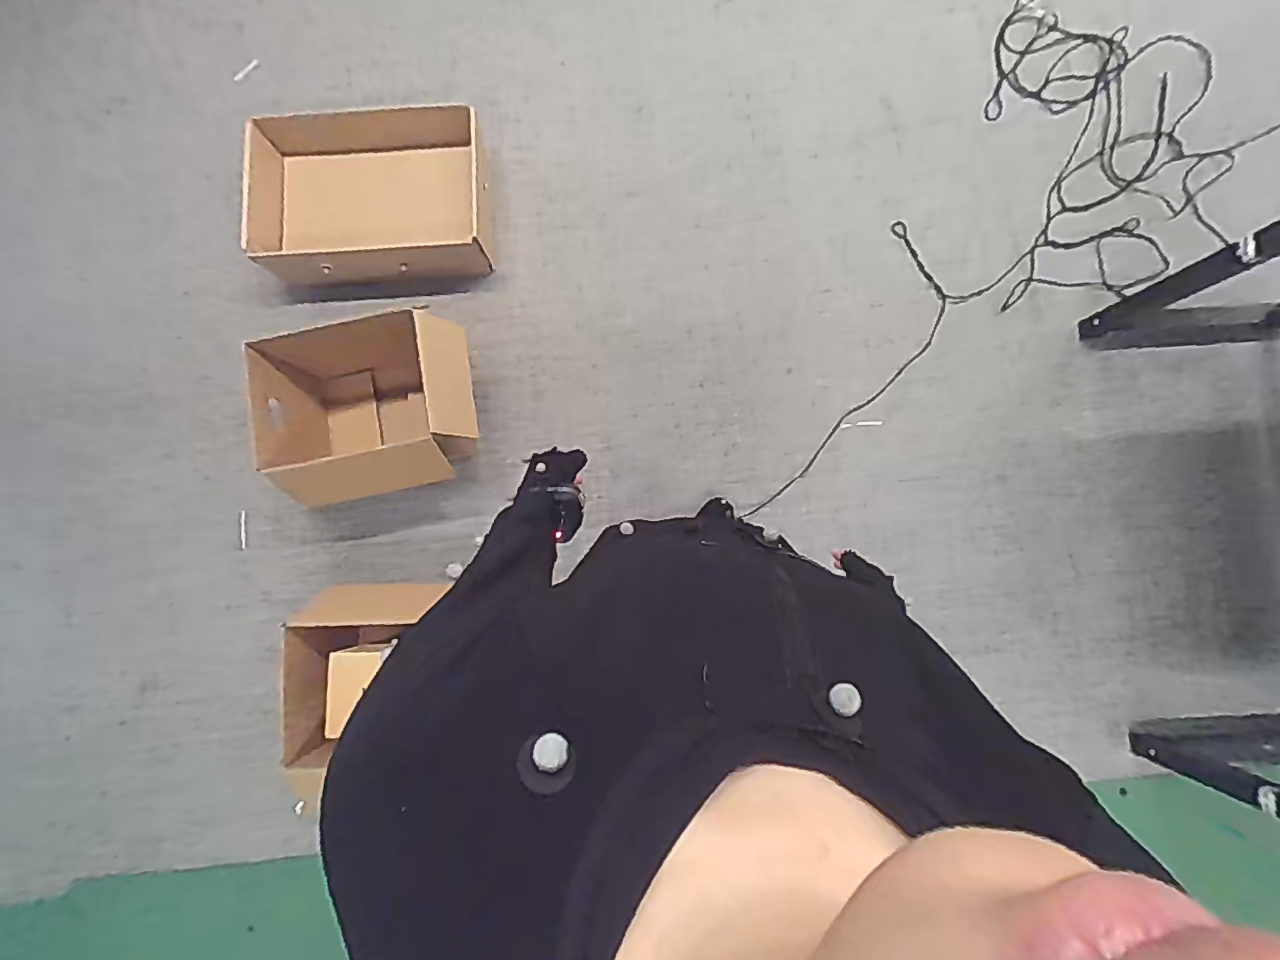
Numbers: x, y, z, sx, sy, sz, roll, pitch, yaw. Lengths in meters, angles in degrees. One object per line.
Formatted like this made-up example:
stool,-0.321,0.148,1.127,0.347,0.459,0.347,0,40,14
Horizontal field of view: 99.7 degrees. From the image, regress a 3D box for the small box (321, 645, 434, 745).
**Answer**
small box,-0.566,0.462,1.186,0.168,0.176,0.179,-2,82,1
